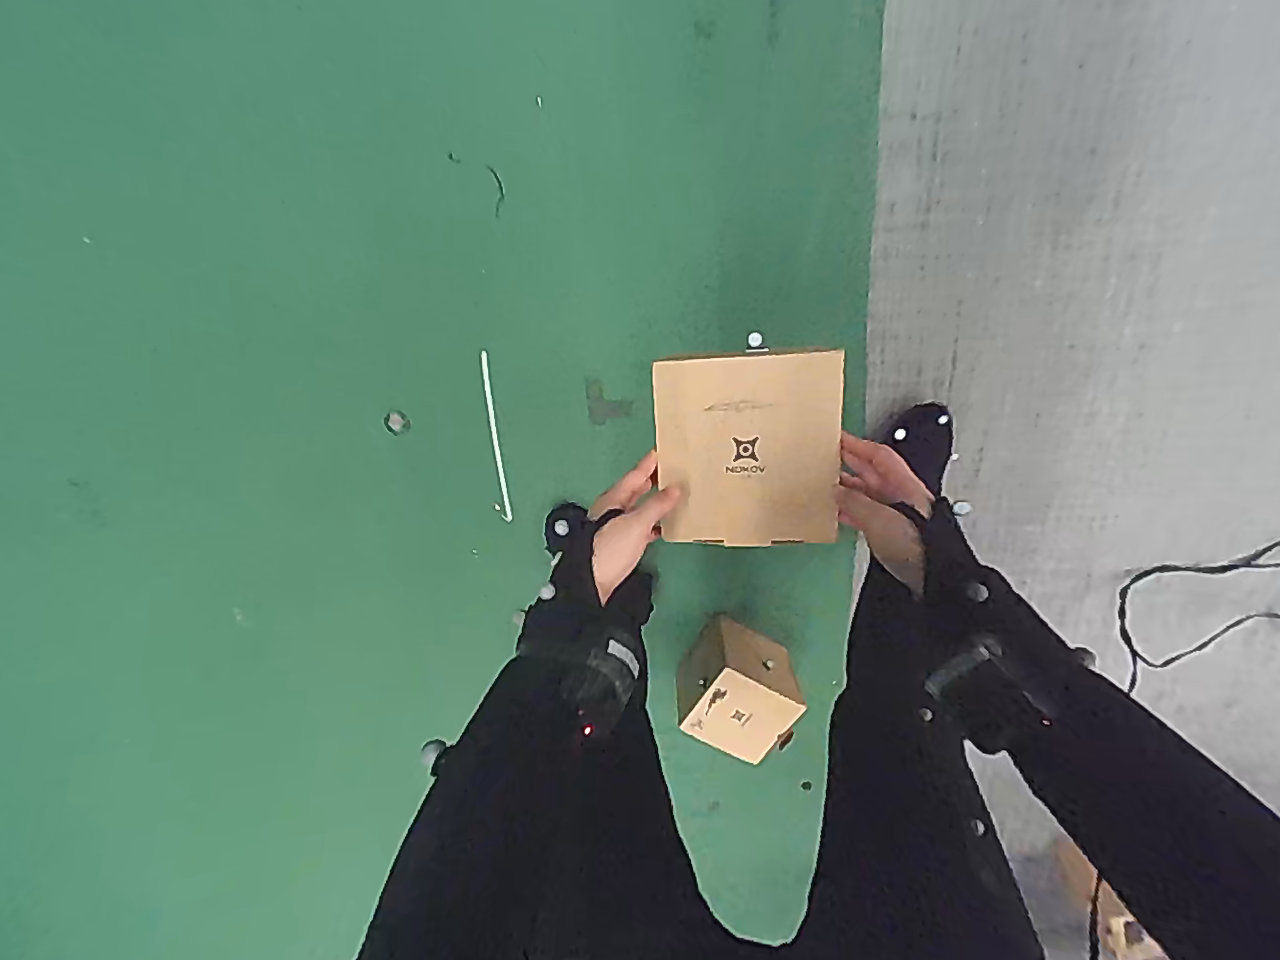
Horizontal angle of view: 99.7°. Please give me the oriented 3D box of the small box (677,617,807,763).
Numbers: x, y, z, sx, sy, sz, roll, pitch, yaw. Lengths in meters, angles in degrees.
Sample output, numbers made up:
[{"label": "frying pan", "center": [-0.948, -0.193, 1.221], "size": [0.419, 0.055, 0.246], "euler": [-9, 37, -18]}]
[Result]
[{"label": "small box", "center": [0.186, 0.397, 1.043], "size": [0.179, 0.176, 0.168], "euler": [29, 109, -10]}]
